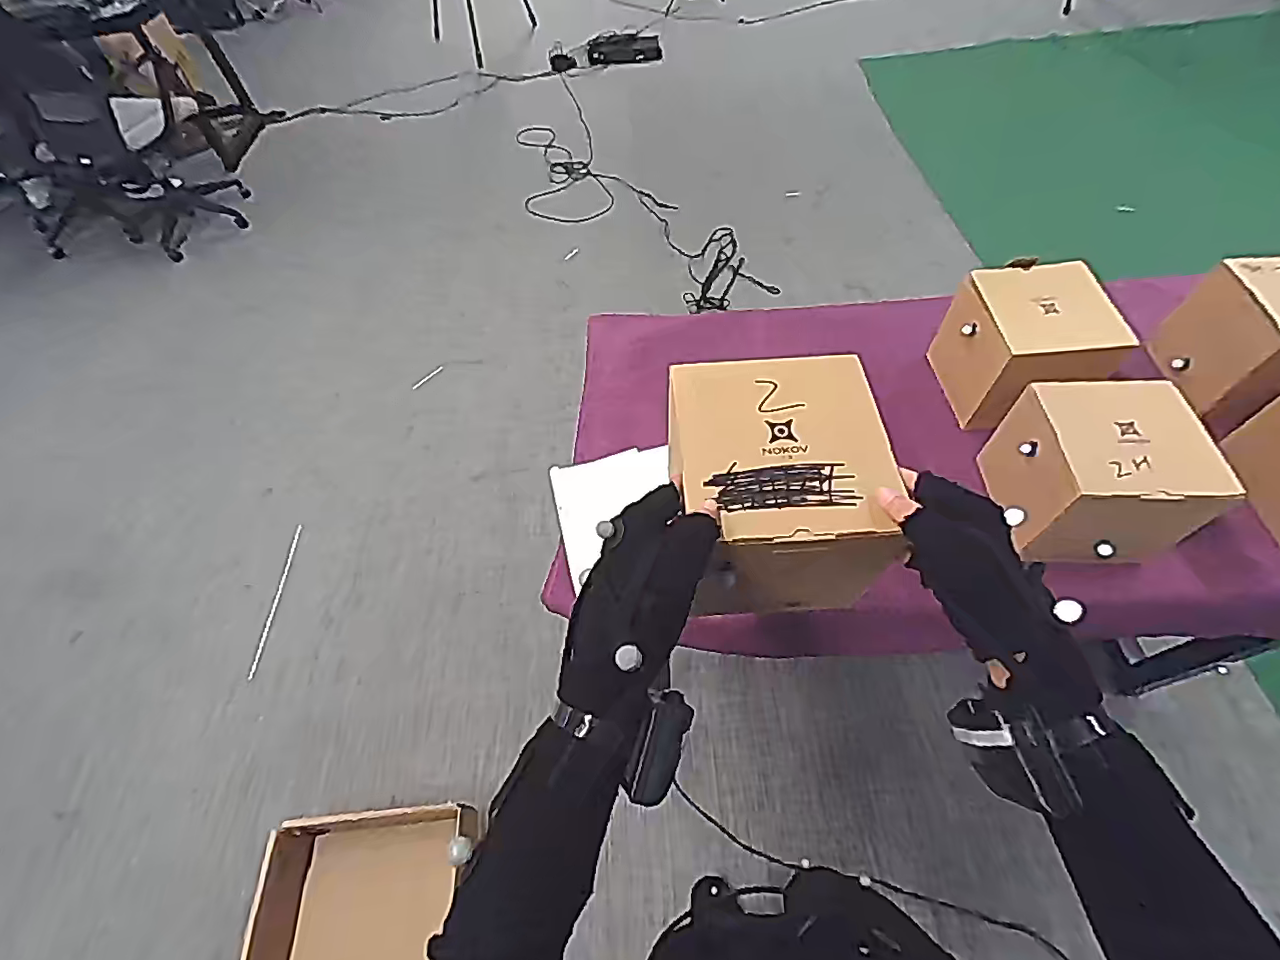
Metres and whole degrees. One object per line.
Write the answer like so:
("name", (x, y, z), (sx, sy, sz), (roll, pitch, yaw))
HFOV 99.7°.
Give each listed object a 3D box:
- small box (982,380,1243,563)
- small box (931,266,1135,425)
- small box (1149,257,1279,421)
("small box", (0.580, -0.009, 0.701), (0.168, 0.176, 0.179), (0, 56, 7))
("small box", (0.581, -0.197, 0.831), (0.168, 0.176, 0.179), (-4, 56, 3))
("small box", (0.919, -0.201, 0.793), (0.168, 0.176, 0.179), (2, 57, 7))
